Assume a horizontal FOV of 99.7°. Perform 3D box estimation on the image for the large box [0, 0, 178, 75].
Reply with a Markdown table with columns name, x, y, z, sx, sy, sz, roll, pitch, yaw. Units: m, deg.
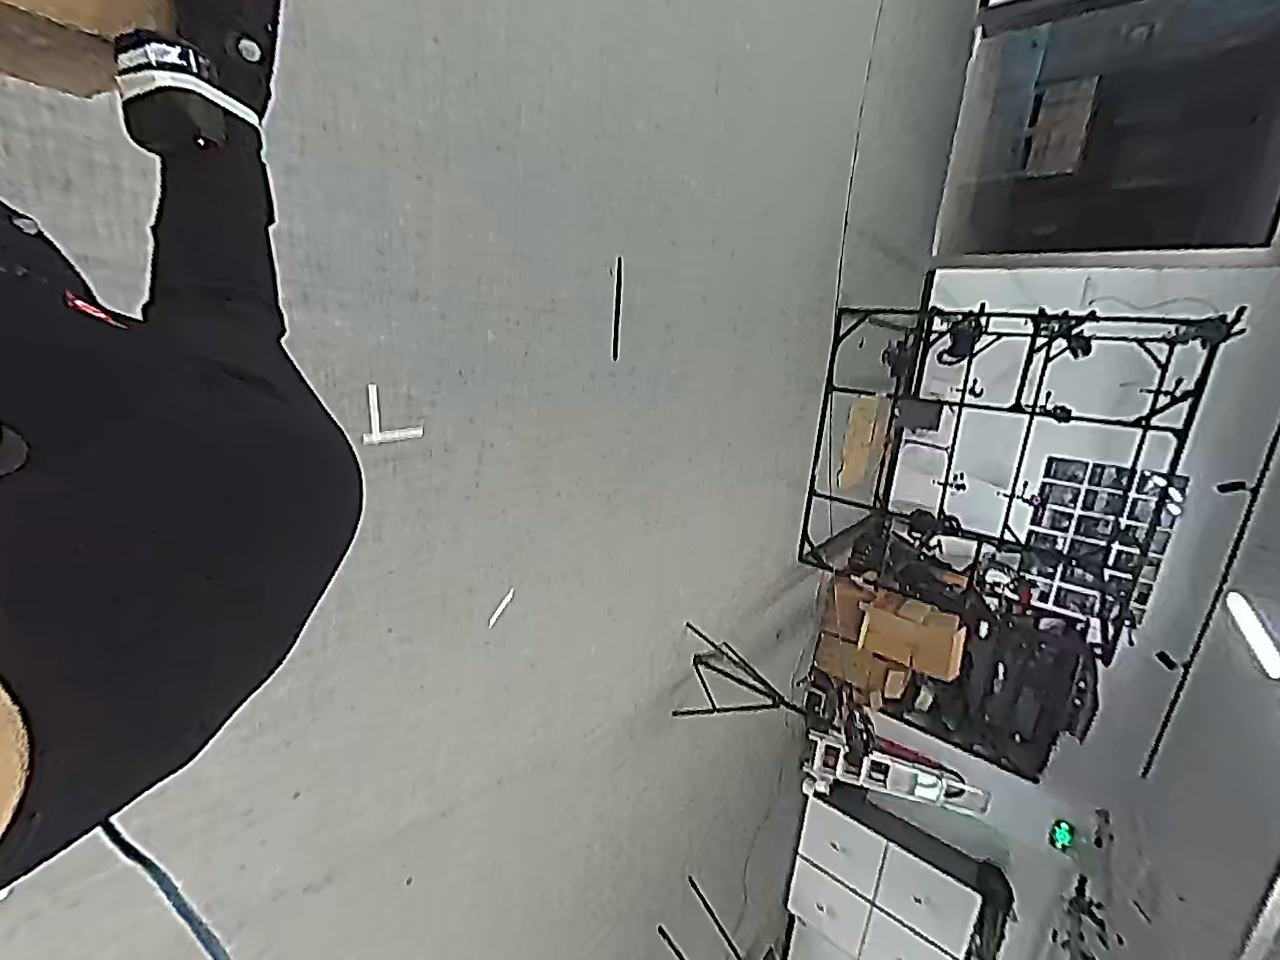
| name | x | y | z | sx | sy | sz | roll | pitch | yaw |
| --- | --- | --- | --- | --- | --- | --- | --- | --- | --- |
| large box | -0.556 | -0.482 | 0.280 | 0.408 | 0.320 | 0.320 | -14 | 120 | -53 |
